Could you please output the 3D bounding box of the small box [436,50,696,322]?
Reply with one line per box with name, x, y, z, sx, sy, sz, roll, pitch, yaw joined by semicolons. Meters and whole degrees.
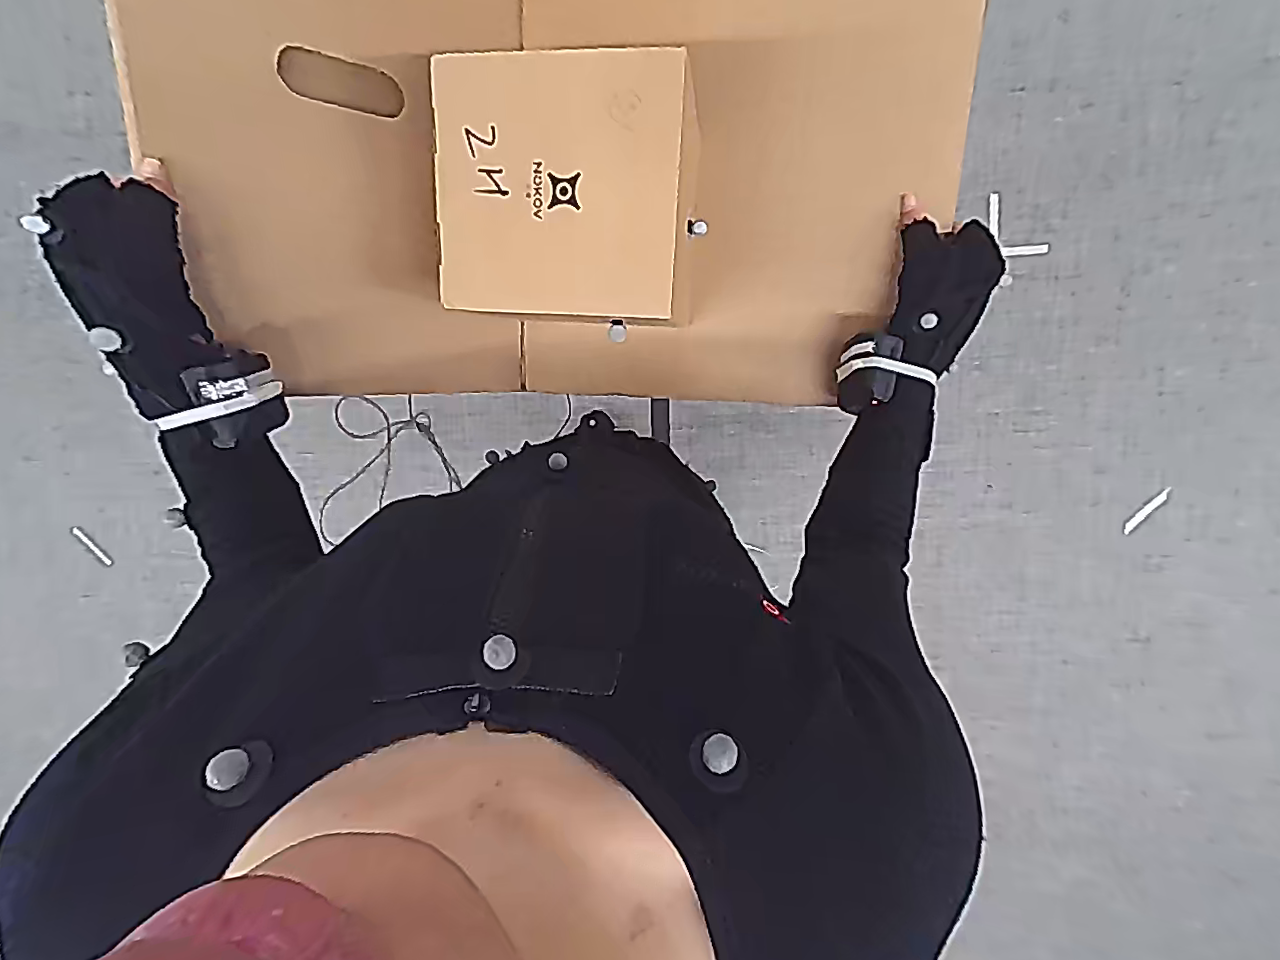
small box;-0.047;-0.226;0.457;0.179;0.176;0.168;6;104;9
